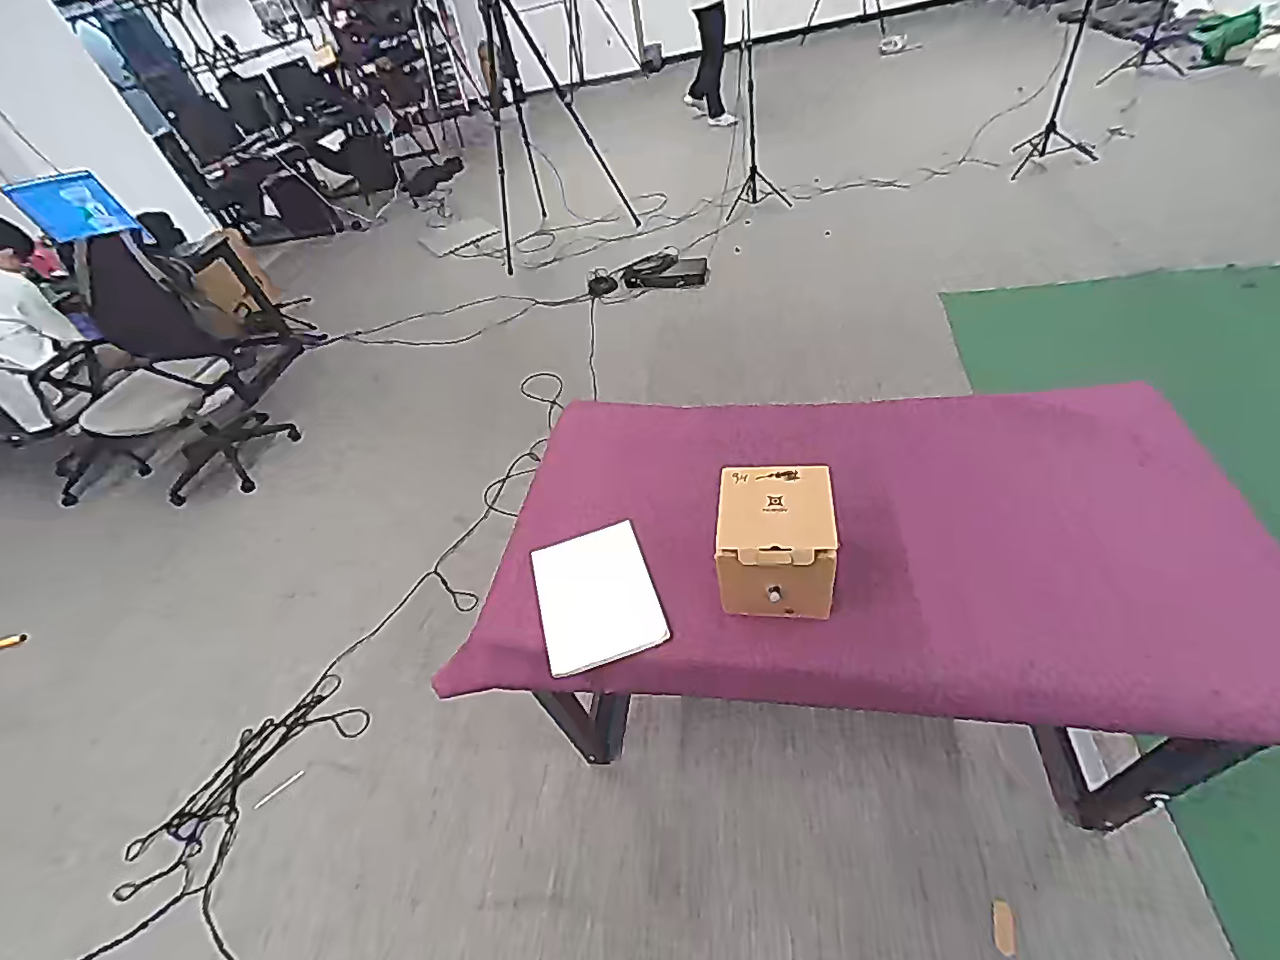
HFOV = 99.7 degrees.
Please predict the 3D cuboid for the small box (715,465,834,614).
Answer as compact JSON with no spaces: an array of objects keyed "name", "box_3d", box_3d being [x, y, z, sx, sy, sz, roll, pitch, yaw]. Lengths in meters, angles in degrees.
[{"name":"small box","box_3d":[0.216,0.096,0.862,0.168,0.176,0.179,0,48,14]}]
